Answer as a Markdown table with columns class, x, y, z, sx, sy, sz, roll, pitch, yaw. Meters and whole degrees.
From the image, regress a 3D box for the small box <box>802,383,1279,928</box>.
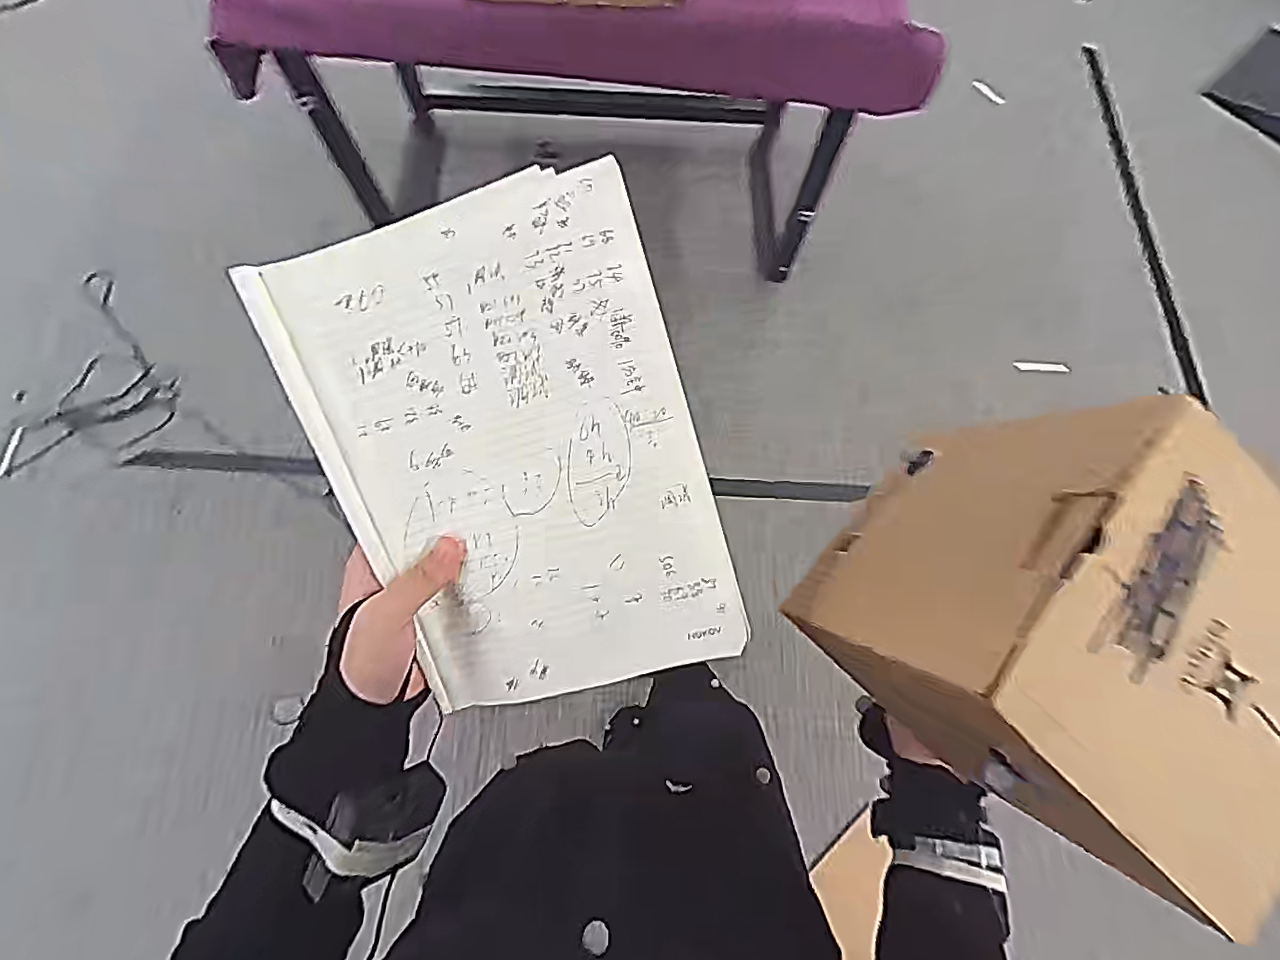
| class | x | y | z | sx | sy | sz | roll | pitch | yaw |
| --- | --- | --- | --- | --- | --- | --- | --- | --- | --- |
| small box | 0.229 | 0.076 | 0.308 | 0.179 | 0.176 | 0.168 | 43 | 81 | -8 |
